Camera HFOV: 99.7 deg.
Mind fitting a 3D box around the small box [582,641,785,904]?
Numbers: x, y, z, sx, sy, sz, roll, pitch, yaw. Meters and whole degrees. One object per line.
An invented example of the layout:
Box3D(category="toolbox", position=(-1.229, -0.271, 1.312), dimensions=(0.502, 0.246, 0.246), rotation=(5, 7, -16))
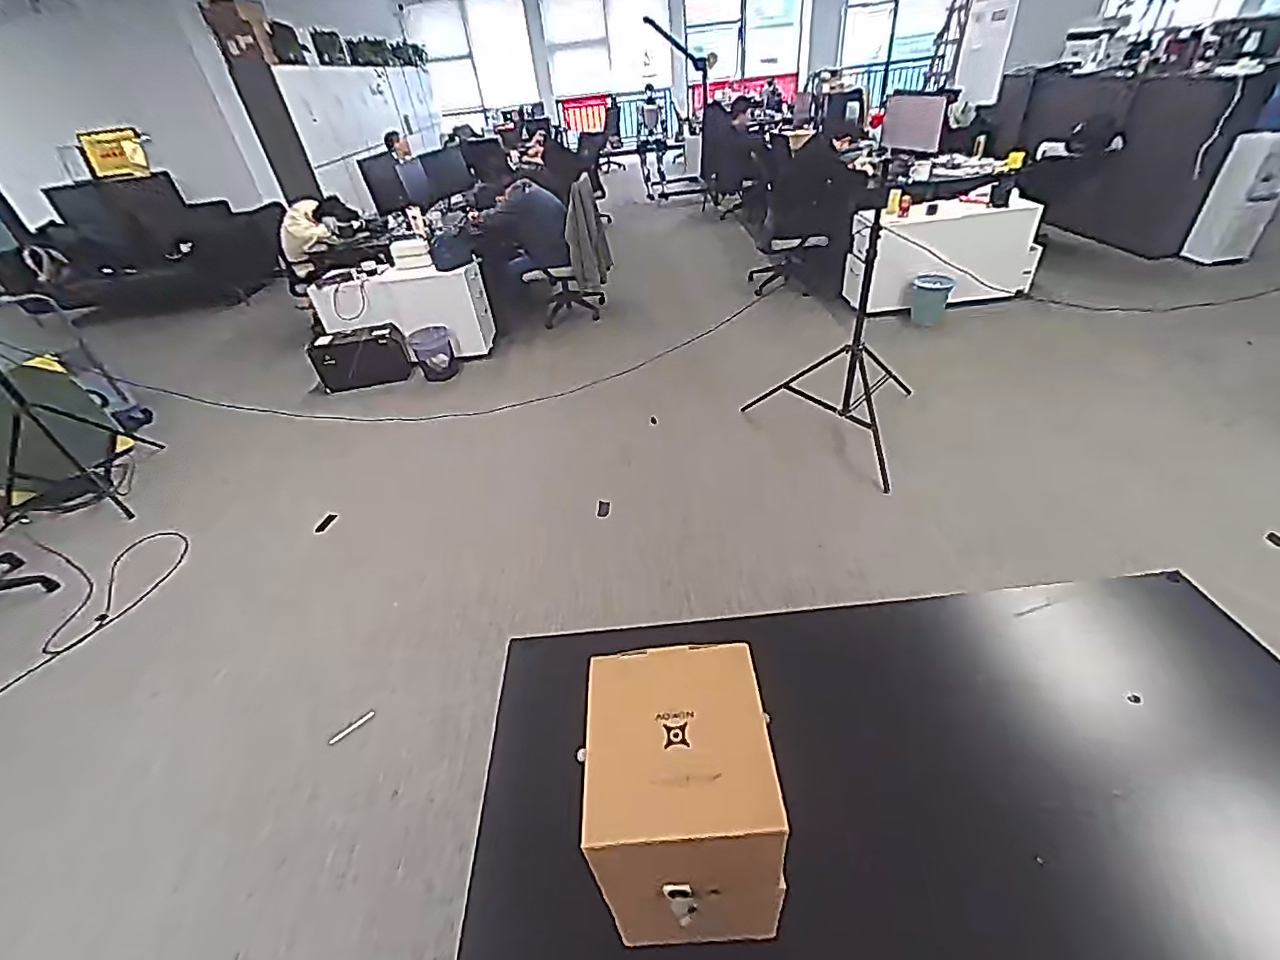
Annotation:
Box3D(category="small box", position=(0.040, 0.290, 0.544), dimensions=(0.168, 0.176, 0.179), rotation=(-7, 38, 2))

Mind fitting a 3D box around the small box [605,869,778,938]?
Box3D(category="small box", position=(0.058, 0.418, 0.643), dimensions=(0.179, 0.176, 0.168), rotation=(-4, 37, 2))
